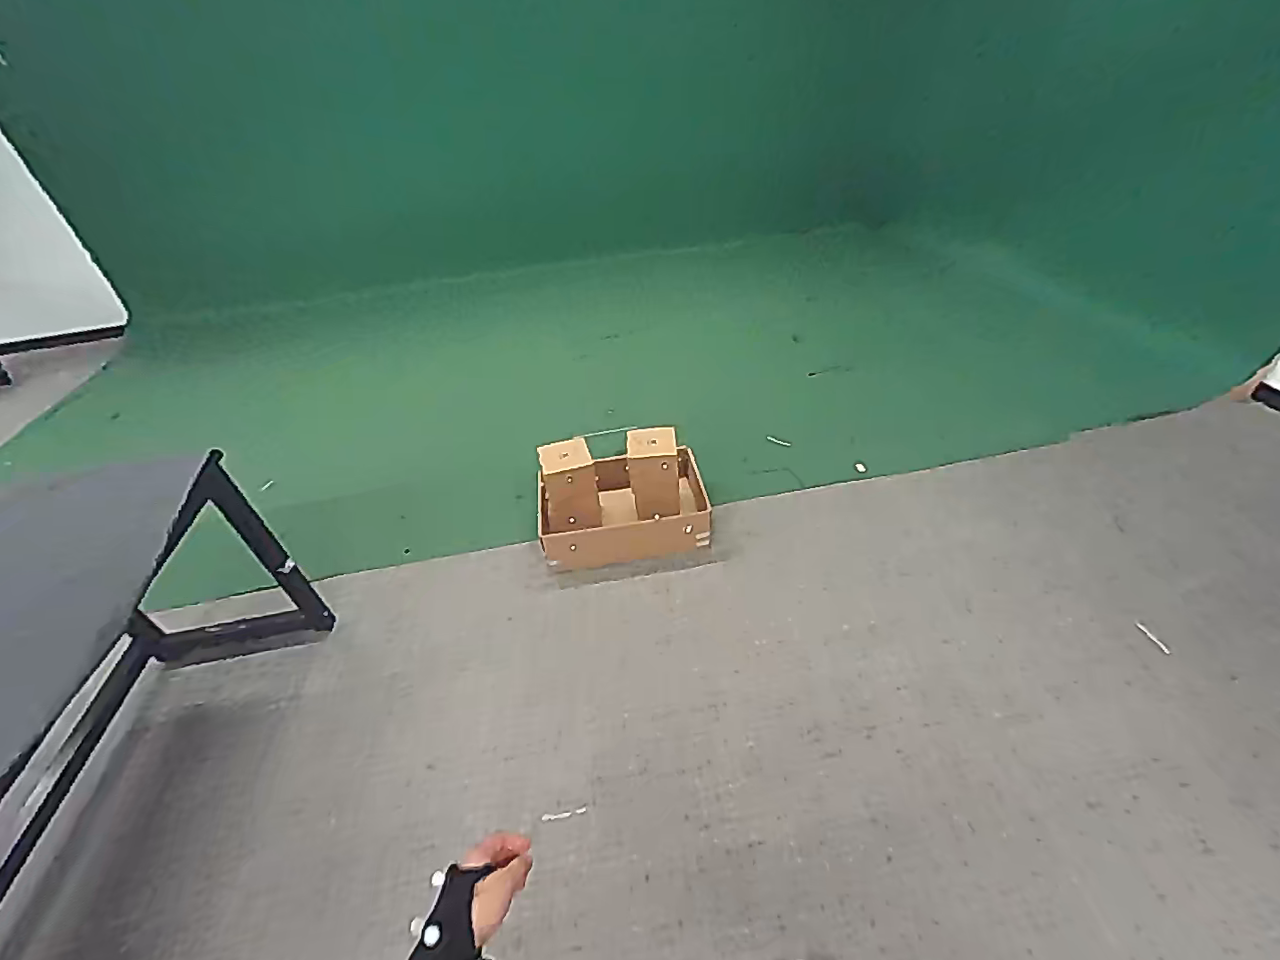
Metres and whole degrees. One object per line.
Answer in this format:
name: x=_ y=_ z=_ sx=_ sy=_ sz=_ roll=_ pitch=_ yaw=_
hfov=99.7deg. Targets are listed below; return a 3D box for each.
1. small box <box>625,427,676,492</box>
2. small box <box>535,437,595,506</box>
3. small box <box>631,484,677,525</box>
small box: x=0.042 y=-0.072 z=1.960 sx=0.179 sy=0.176 sz=0.168 roll=-4 pitch=40 yaw=3
small box: x=-0.267 y=-0.027 z=1.940 sx=0.179 sy=0.176 sz=0.168 roll=-13 pitch=42 yaw=-12
small box: x=0.054 y=0.050 z=2.070 sx=0.168 sy=0.176 sz=0.179 roll=-5 pitch=42 yaw=2
